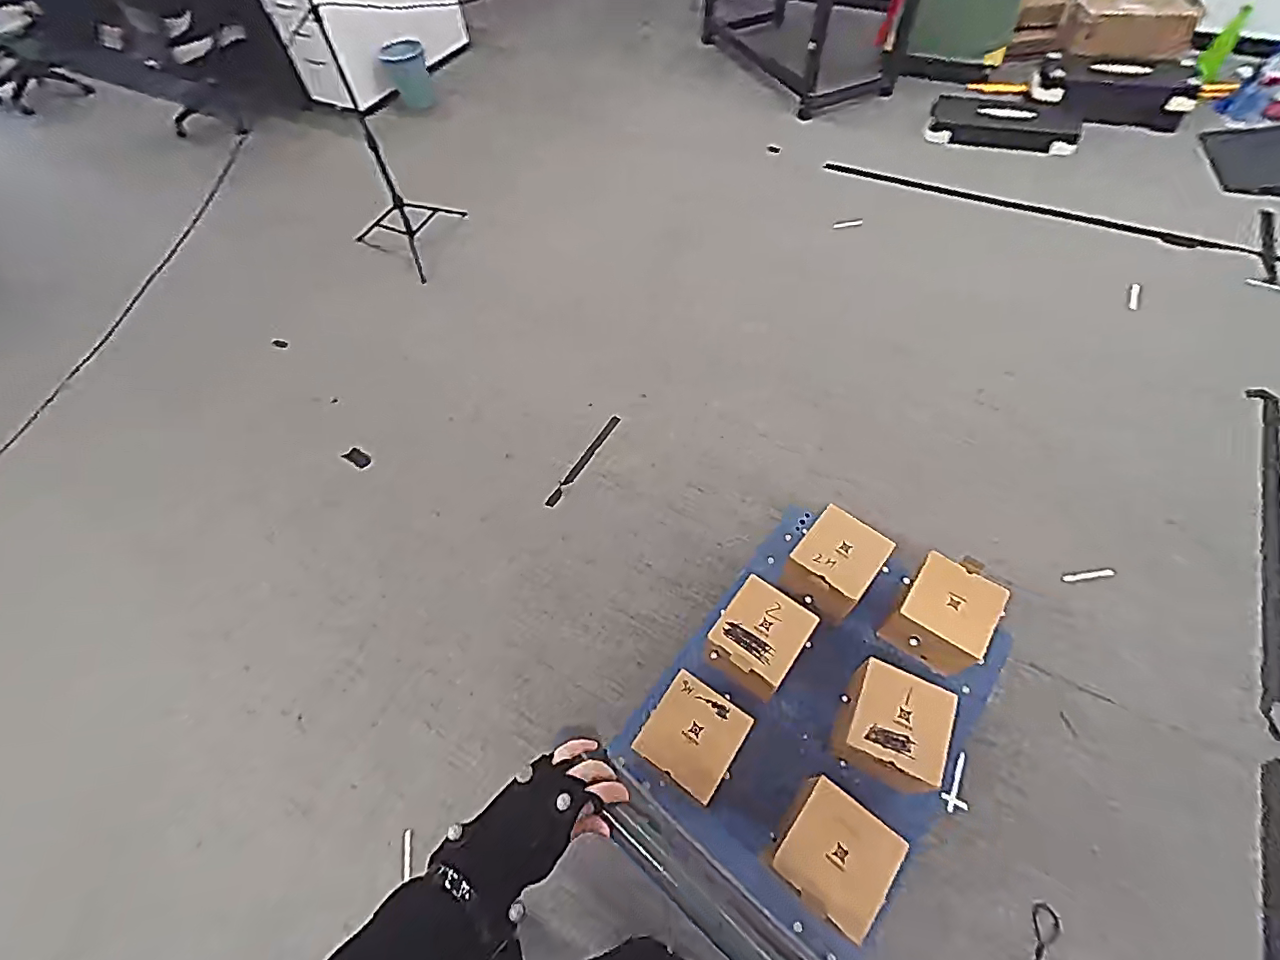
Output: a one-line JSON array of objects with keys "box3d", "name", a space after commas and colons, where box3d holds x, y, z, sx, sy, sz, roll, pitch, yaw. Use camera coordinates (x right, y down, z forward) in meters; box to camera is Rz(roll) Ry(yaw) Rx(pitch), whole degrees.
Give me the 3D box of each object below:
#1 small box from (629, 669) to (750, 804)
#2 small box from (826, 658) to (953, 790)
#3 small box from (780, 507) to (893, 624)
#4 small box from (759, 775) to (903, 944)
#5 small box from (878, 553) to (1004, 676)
[{"box3d": [0.098, 0.514, 1.076, 0.168, 0.176, 0.179, 32, 65, 20], "name": "small box"}, {"box3d": [0.484, 0.488, 1.071, 0.168, 0.176, 0.179, 23, 61, 17], "name": "small box"}, {"box3d": [0.444, 0.201, 1.253, 0.168, 0.176, 0.179, 36, 67, 23], "name": "small box"}, {"box3d": [0.329, 0.667, 0.968, 0.168, 0.176, 0.179, 35, 65, 22], "name": "small box"}, {"box3d": [0.646, 0.299, 1.183, 0.168, 0.176, 0.179, 31, 64, 21], "name": "small box"}]
